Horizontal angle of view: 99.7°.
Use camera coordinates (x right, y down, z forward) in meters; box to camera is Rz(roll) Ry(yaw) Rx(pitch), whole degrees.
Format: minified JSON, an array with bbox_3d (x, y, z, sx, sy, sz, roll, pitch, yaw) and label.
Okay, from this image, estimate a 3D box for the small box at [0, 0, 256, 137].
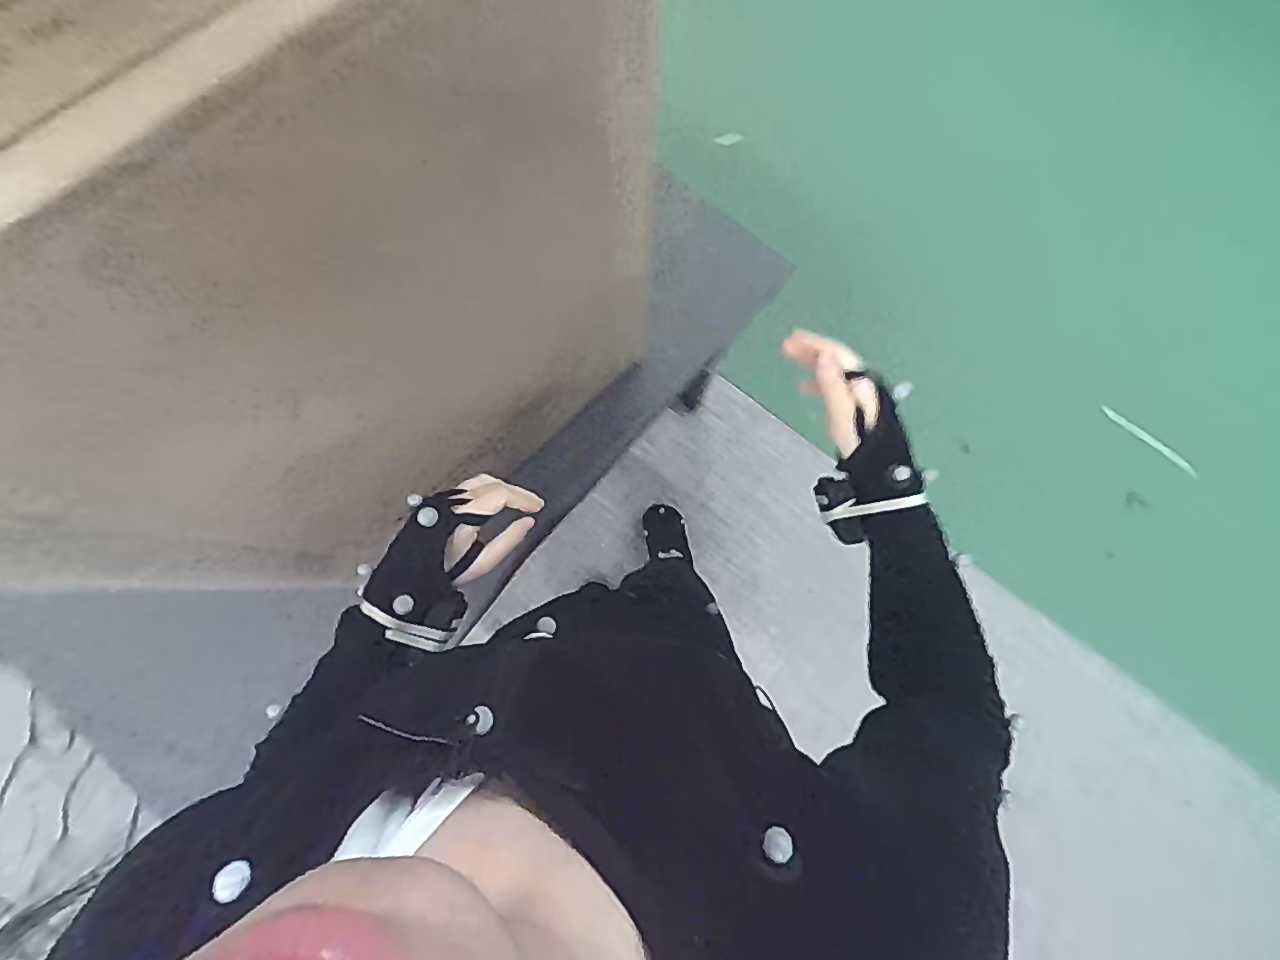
[{"bbox_3d":[-0.240,-0.227,0.135,0.168,0.176,0.179,-43,85,-9],"label":"small box"}]
